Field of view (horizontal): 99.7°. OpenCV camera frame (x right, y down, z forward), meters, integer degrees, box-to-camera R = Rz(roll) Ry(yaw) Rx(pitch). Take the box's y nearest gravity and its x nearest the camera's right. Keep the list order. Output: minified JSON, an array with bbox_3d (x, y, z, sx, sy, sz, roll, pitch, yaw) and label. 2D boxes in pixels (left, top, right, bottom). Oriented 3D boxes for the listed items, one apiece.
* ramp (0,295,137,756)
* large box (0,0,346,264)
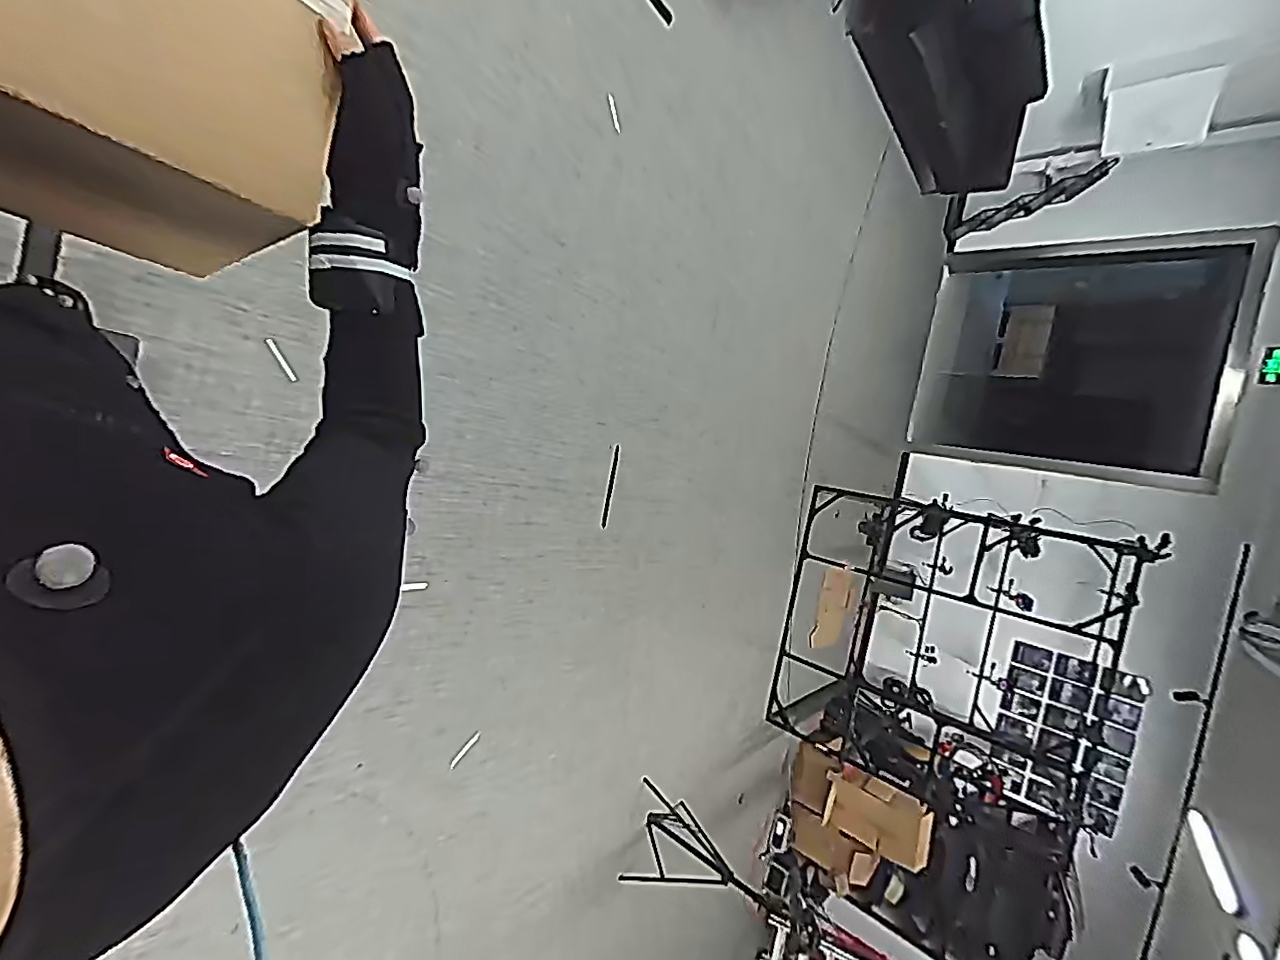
[{"bbox_3d":[-1.330,0.129,0.990,0.509,0.206,0.991,5,97,-52],"label":"ramp"},{"bbox_3d":[-0.471,-0.391,0.358,0.408,0.320,0.320,11,88,-52],"label":"large box"}]
